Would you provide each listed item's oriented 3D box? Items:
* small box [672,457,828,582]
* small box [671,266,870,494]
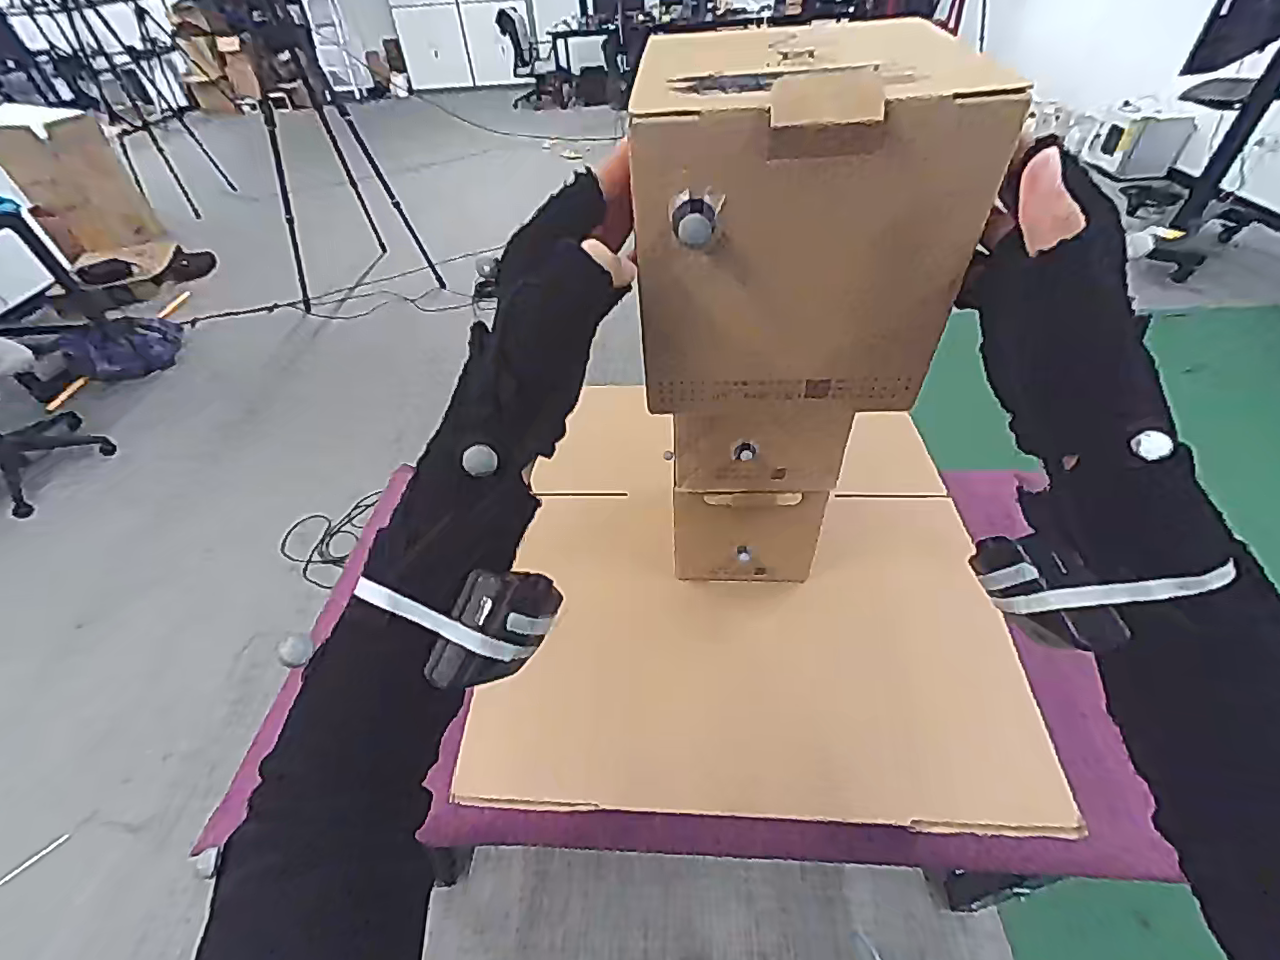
[{"bbox_3d":[0.126,0.007,0.683,0.168,0.176,0.179,0,44,6],"label":"small box"},{"bbox_3d":[0.116,-0.105,0.564,0.168,0.176,0.179,-1,45,4],"label":"small box"}]
